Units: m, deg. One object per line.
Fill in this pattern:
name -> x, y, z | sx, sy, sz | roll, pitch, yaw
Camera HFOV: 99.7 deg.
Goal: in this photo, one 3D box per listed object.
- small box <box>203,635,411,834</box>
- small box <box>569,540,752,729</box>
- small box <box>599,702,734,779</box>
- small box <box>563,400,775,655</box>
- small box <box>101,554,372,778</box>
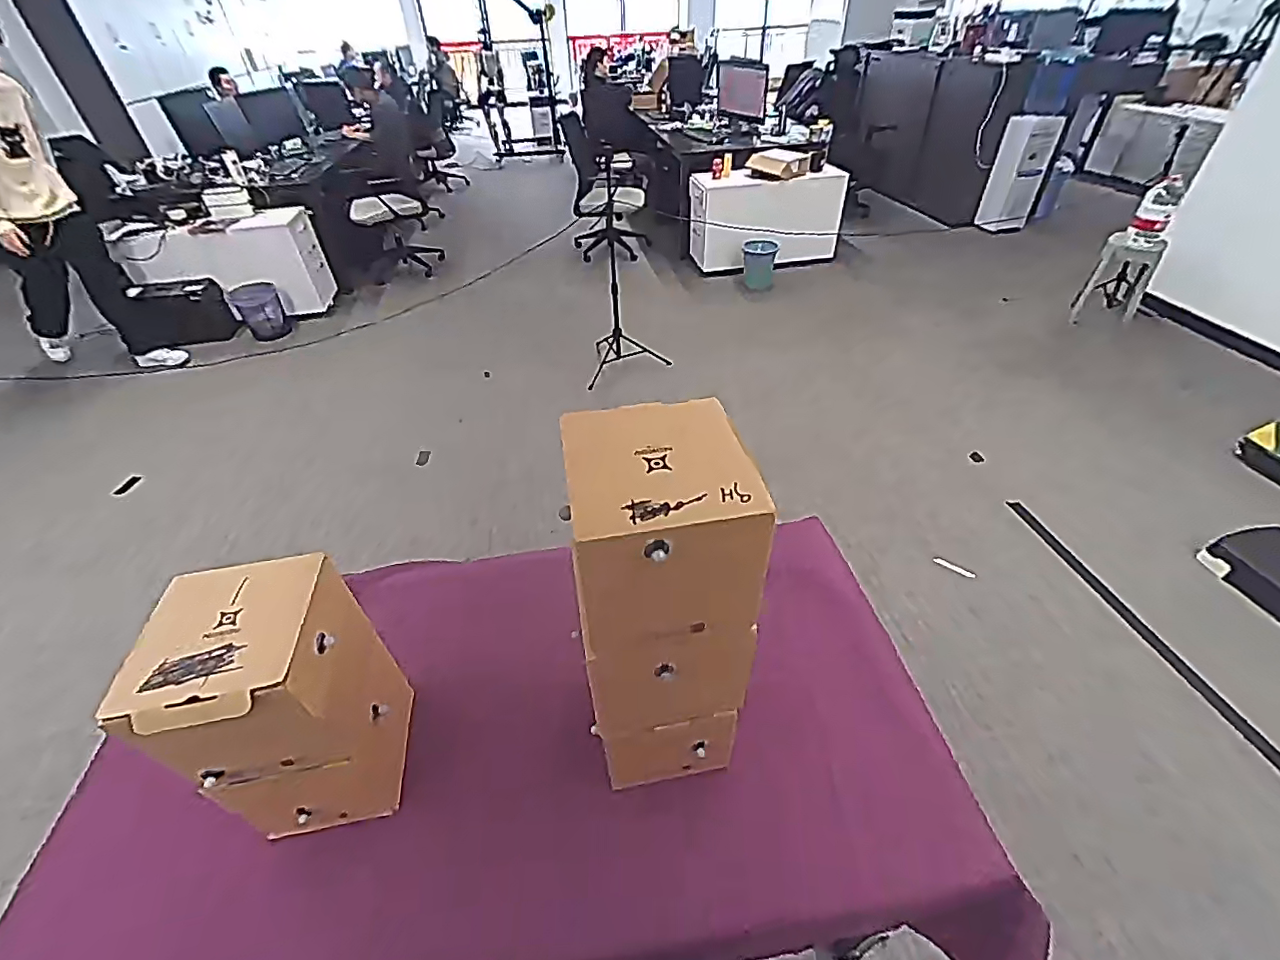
small box -> -0.422, 0.339, 0.725 | 0.168, 0.176, 0.179 | -8, 42, -7
small box -> 0.018, 0.171, 0.641 | 0.179, 0.176, 0.168 | -8, 42, -7
small box -> 0.024, 0.292, 0.752 | 0.168, 0.176, 0.179 | -8, 41, -6
small box -> 0.017, 0.044, 0.538 | 0.168, 0.176, 0.179 | -8, 41, -6
small box -> -0.428, 0.215, 0.617 | 0.168, 0.176, 0.179 | -9, 42, -8
